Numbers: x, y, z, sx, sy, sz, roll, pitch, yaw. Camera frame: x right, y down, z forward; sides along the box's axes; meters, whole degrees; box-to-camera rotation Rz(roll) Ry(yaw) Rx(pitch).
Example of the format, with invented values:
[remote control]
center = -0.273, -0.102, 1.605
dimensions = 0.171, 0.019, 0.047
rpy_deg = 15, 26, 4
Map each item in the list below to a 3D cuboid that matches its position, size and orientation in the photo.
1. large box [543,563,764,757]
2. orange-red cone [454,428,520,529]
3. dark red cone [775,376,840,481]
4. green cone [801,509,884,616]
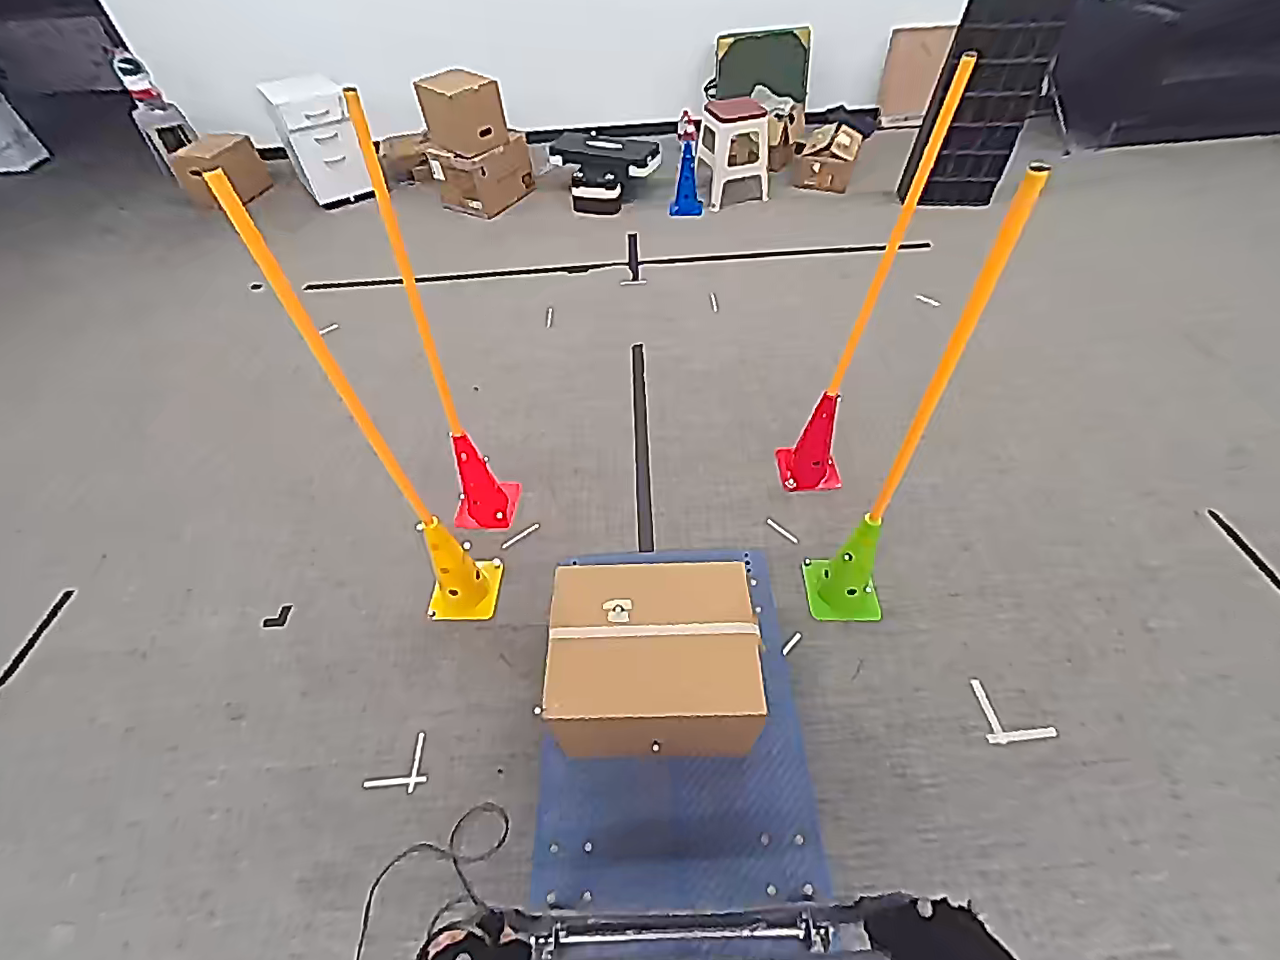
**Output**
[large box]
center = 0.029, 0.398, 1.172
dimensions = 0.408, 0.320, 0.320
rpy_deg = -2, 50, 2
[orange-red cone]
center = -0.535, -0.029, 1.752
dimensions = 0.198, 0.360, 0.199
rpy_deg = 3, 49, 4
[dark red cone]
center = 0.589, -0.177, 1.789
dimensions = 0.201, 0.394, 0.202
rpy_deg = -2, 50, -1
[green cone]
center = 0.590, 0.206, 1.490
dimensions = 0.202, 0.368, 0.200
rpy_deg = 0, 50, 2
